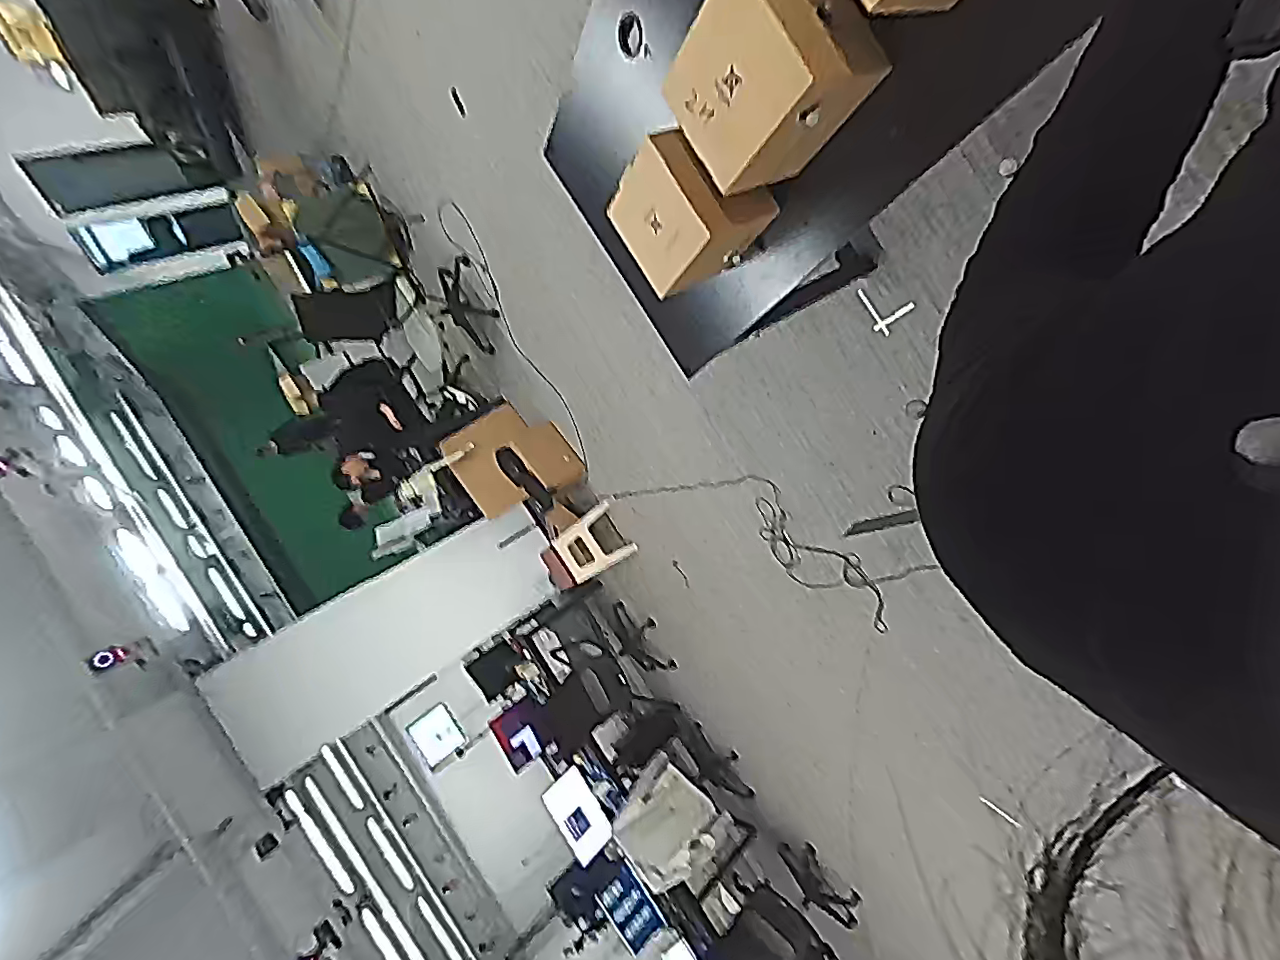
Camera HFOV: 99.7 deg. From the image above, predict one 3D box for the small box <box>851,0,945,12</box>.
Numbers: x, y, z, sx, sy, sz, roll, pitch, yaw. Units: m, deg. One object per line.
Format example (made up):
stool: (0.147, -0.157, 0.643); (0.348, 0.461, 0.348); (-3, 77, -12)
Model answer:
small box: (0.261, -0.561, 0.469); (0.168, 0.176, 0.179); (58, 150, 0)

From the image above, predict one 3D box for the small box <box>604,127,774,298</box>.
small box: (0.077, -0.432, 0.872); (0.179, 0.176, 0.168); (57, 152, 0)
